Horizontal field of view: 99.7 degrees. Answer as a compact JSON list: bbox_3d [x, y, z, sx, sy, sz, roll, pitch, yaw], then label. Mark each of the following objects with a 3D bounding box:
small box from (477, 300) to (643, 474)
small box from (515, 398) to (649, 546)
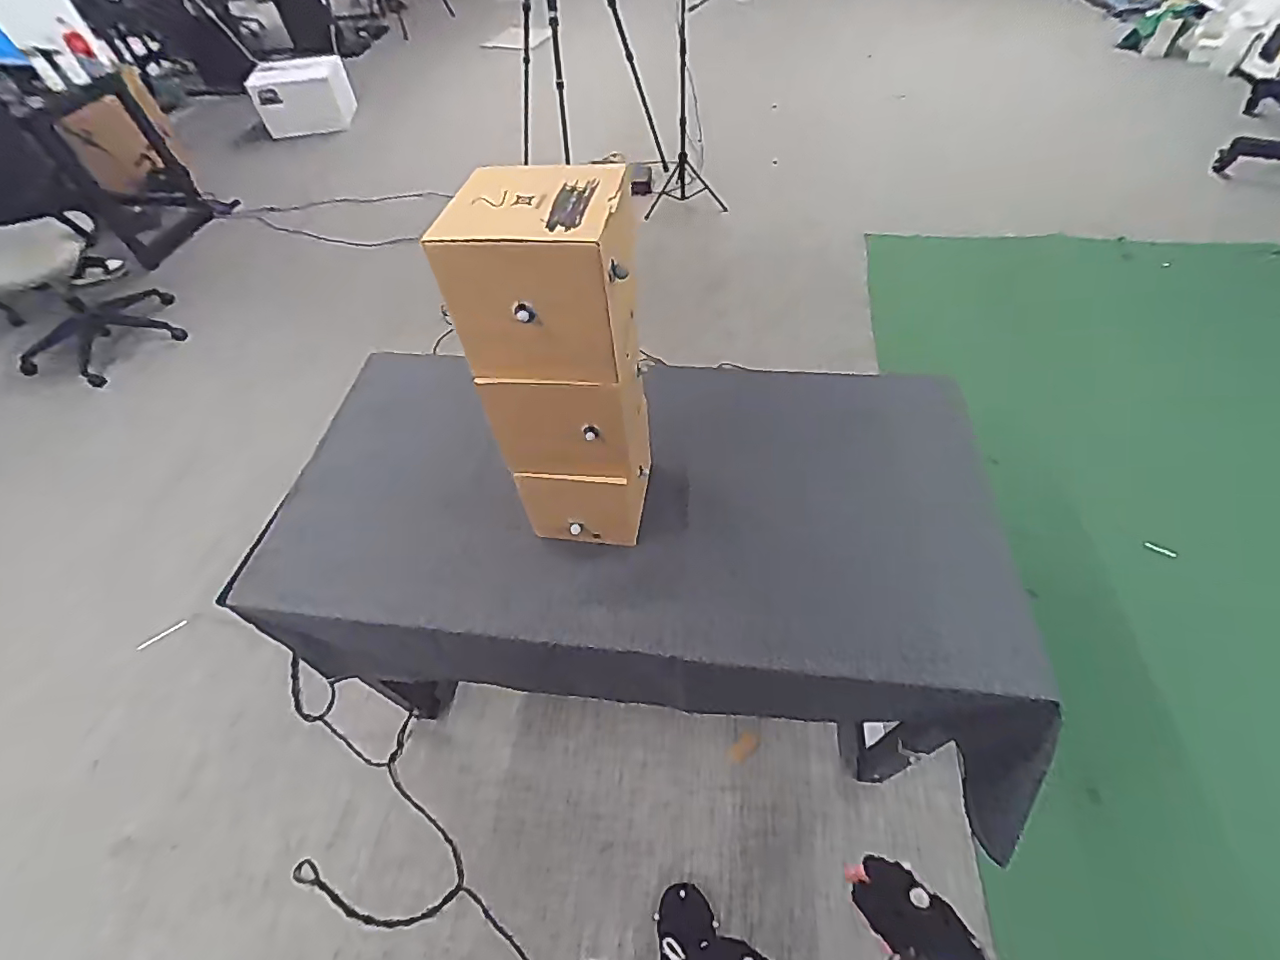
[{"bbox_3d":[-0.092,-0.122,0.734,0.179,0.176,0.168,3,51,7],"label":"small box"},{"bbox_3d":[-0.079,-0.018,0.859,0.168,0.176,0.179,5,53,9],"label":"small box"}]
